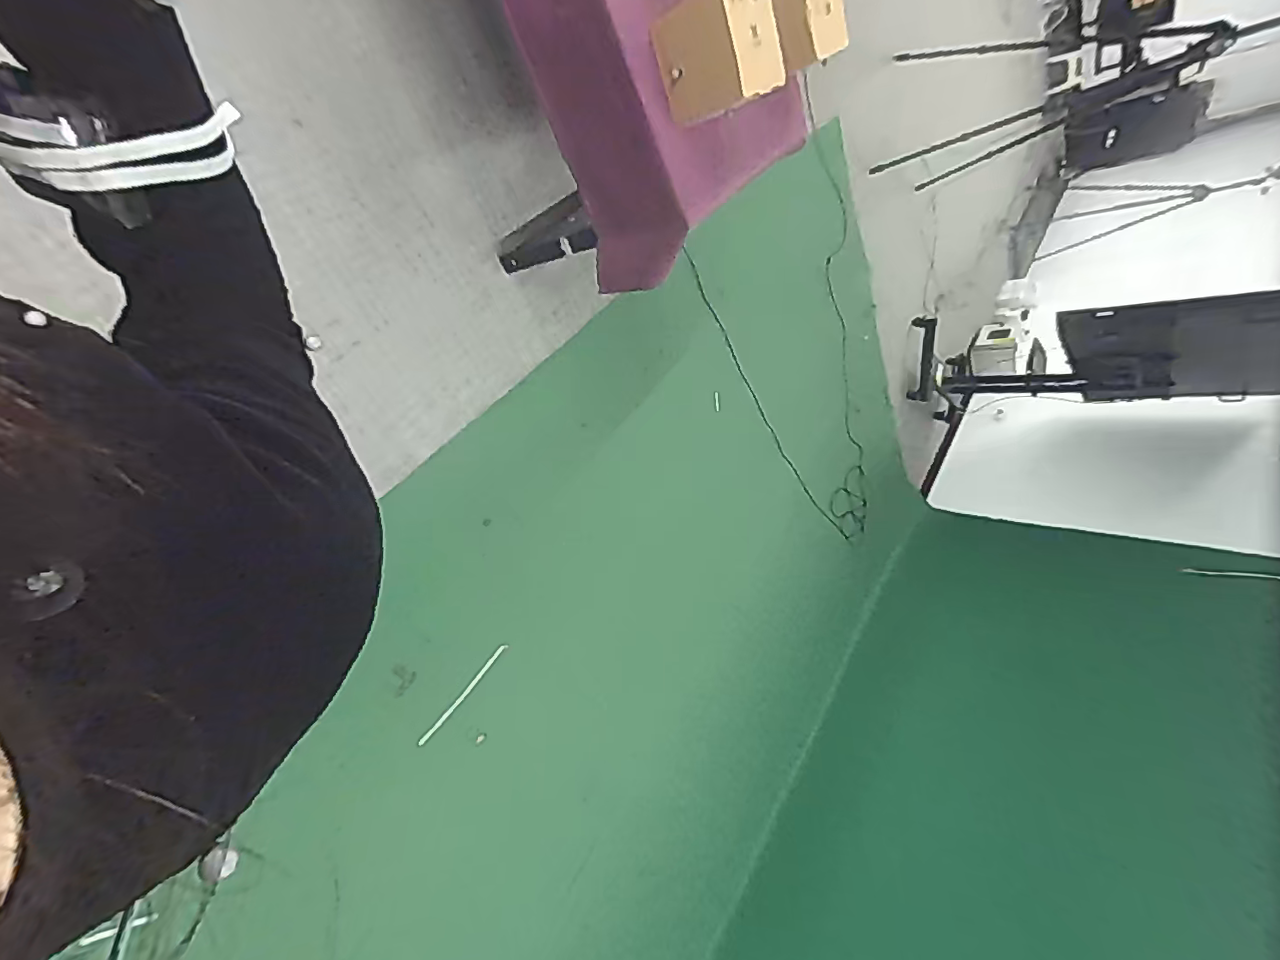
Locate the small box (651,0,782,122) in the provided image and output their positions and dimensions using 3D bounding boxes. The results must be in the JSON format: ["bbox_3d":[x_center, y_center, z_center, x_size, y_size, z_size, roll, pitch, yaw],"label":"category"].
[{"bbox_3d":[0.150,-0.826,1.054,0.168,0.176,0.179,-43,125,-34],"label":"small box"}]

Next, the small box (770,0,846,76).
[{"bbox_3d":[0.336,-1.022,1.214,0.179,0.176,0.168,-46,125,-31],"label":"small box"}]
